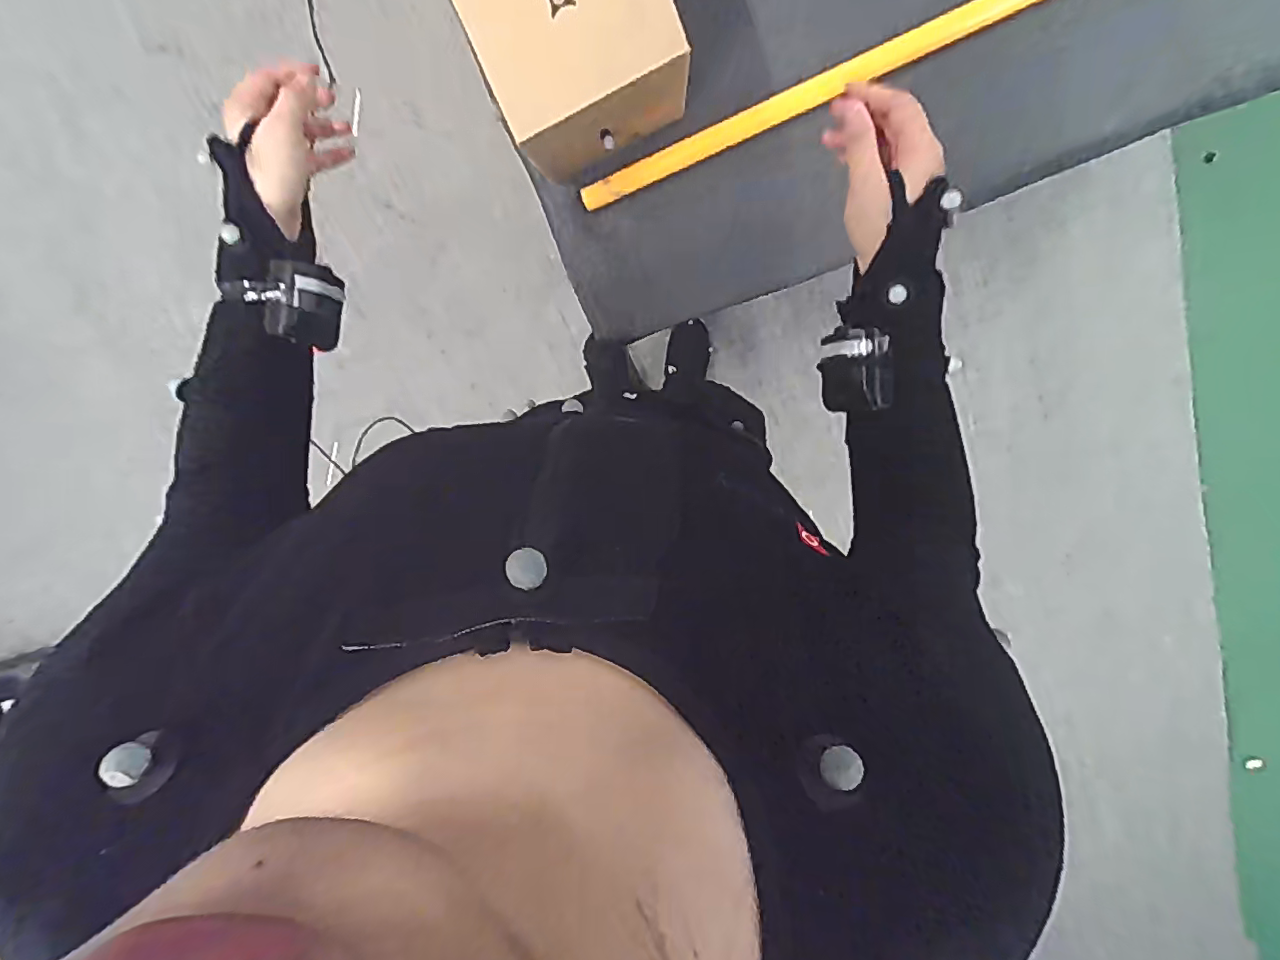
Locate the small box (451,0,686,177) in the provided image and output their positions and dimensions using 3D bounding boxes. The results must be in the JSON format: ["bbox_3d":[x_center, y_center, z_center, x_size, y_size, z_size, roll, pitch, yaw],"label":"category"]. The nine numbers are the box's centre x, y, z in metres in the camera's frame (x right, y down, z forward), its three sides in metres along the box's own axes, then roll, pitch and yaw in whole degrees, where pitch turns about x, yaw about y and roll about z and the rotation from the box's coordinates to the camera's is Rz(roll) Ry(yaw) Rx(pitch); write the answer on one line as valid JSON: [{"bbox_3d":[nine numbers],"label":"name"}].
[{"bbox_3d":[-0.063,-0.417,0.515,0.168,0.176,0.179,-23,105,9],"label":"small box"}]
